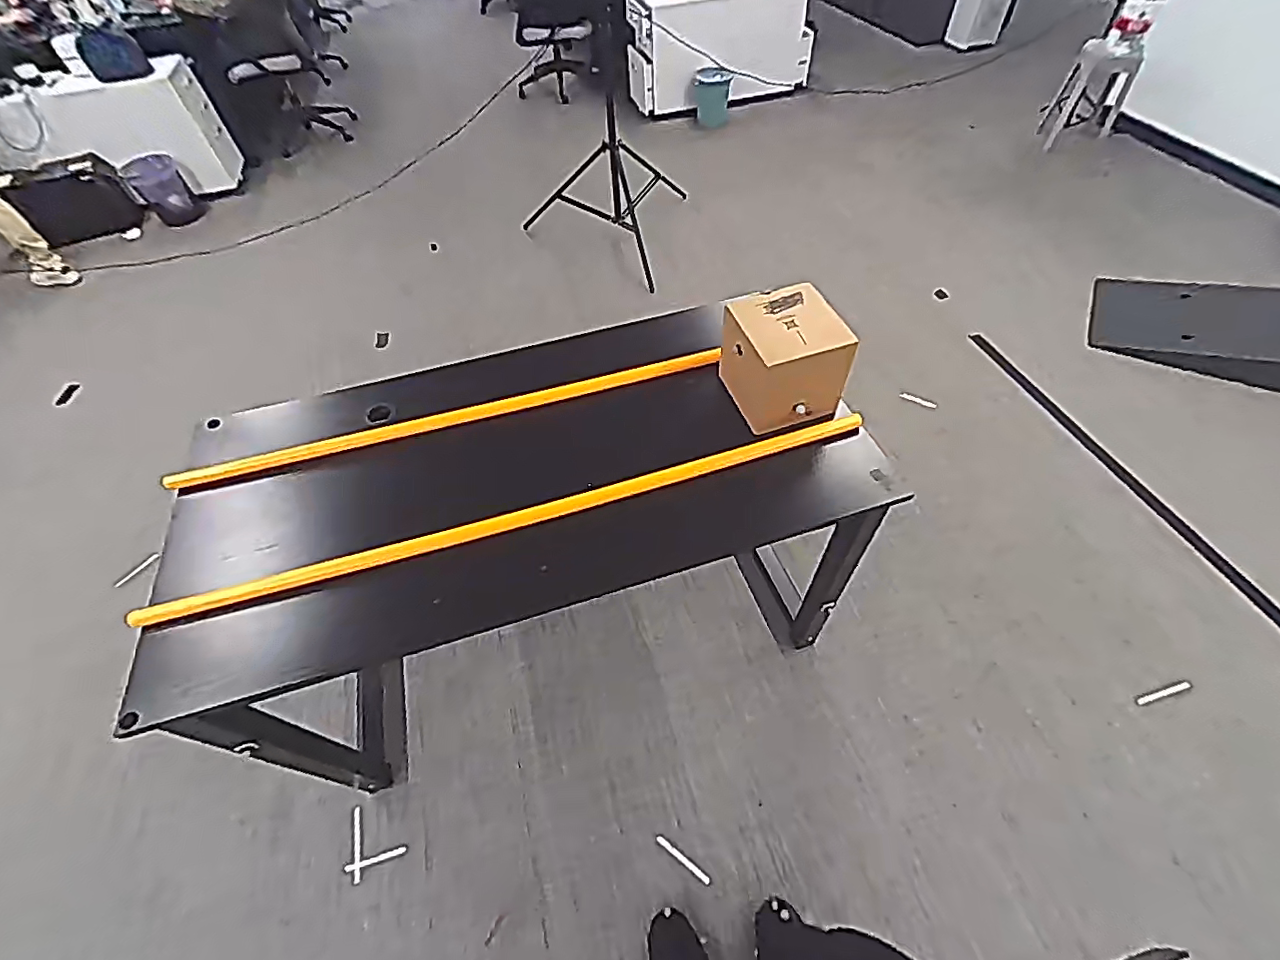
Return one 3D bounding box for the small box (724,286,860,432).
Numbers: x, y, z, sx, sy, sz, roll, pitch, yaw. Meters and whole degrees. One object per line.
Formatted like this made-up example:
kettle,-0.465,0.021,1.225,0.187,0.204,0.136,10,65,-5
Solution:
small box,0.261,-0.217,0.979,0.168,0.176,0.179,-16,54,-7
